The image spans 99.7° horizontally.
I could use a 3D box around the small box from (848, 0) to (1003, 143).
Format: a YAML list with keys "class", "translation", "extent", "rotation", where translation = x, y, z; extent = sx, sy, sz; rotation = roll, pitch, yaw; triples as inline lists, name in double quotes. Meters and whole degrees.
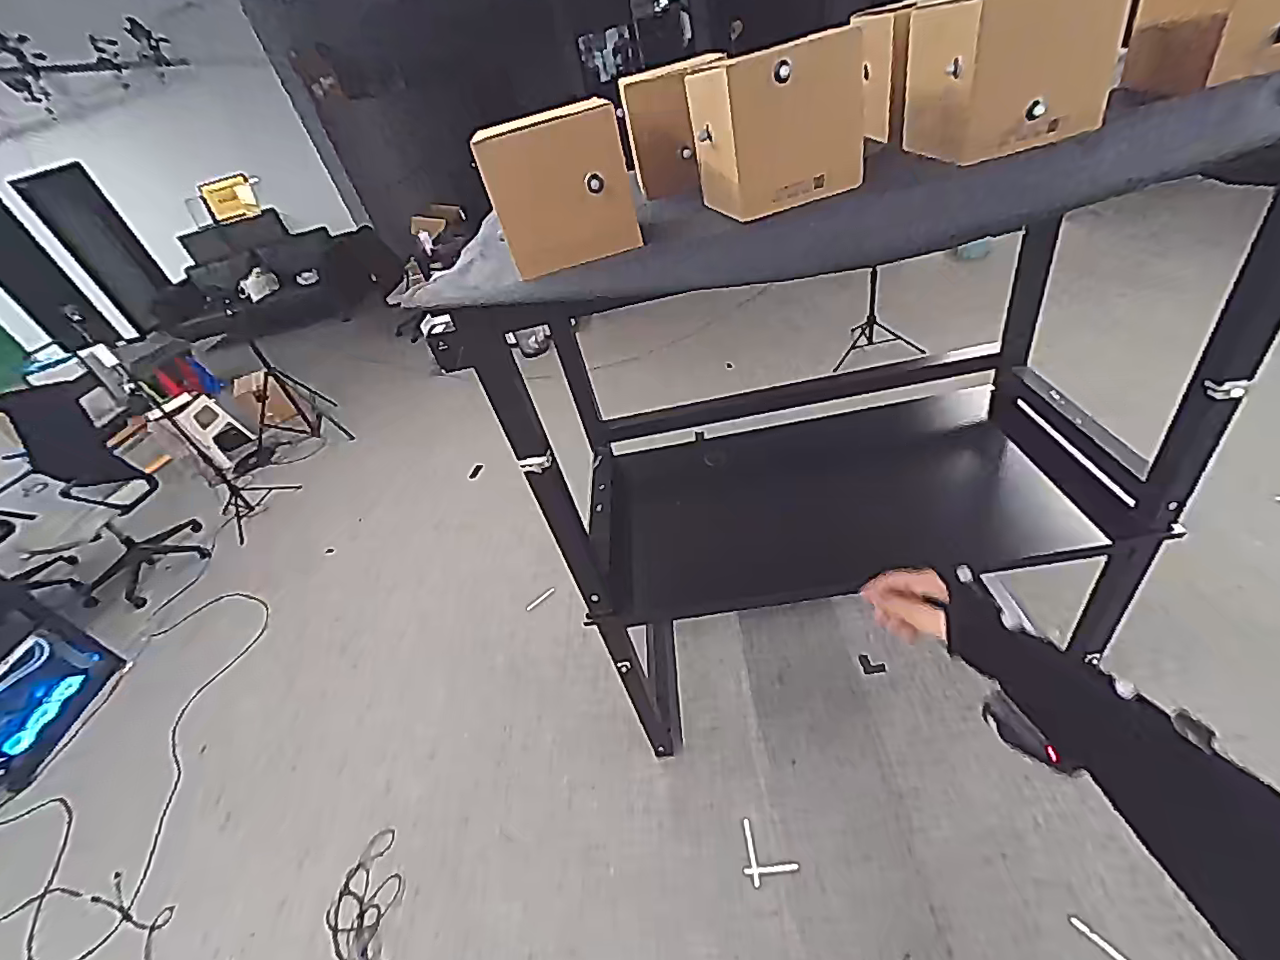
- class: "small box"
  translation: [0.445, -0.659, 0.866]
  extent: [0.168, 0.176, 0.179]
  rotation: [-12, 37, 5]

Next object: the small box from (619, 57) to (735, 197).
- class: "small box"
  translation: [0.064, -0.612, 0.944]
  extent: [0.168, 0.176, 0.179]
  rotation: [-13, 39, 5]

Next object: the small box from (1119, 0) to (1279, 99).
- class: "small box"
  translation: [0.764, -0.601, 0.681]
  extent: [0.168, 0.176, 0.179]
  rotation: [-8, 39, 11]

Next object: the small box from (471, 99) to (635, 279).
- class: "small box"
  translation: [-0.110, -0.397, 0.739]
  extent: [0.179, 0.176, 0.168]
  rotation: [-16, 38, -1]
